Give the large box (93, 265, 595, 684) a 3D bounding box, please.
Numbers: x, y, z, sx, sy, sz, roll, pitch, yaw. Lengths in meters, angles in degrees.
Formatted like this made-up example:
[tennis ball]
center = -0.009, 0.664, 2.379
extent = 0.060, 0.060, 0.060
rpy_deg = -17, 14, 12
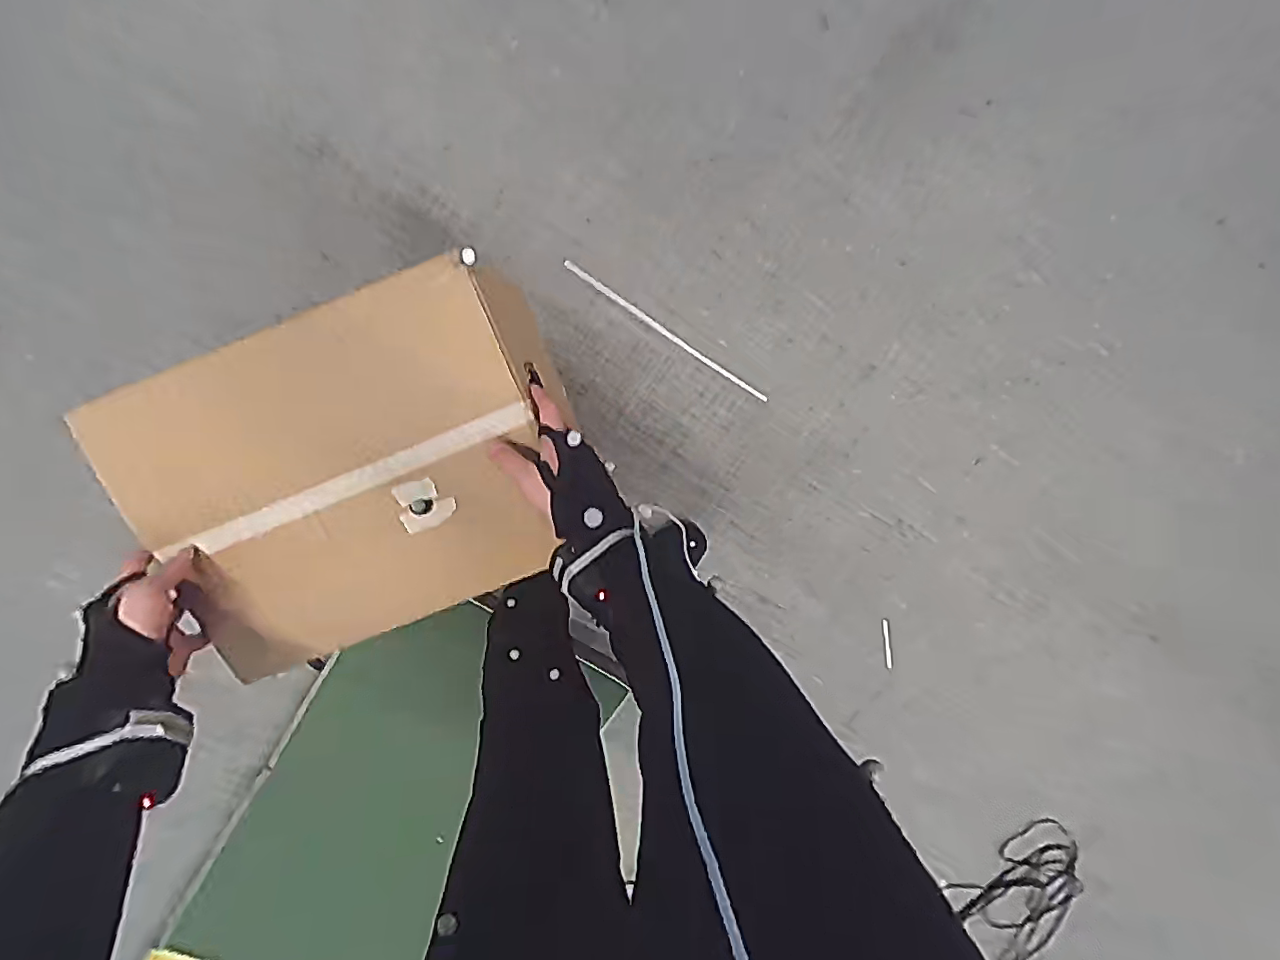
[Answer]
[large box]
center = -0.301, -0.020, 0.690
extent = 0.408, 0.320, 0.320
rpy_deg = -23, 104, 2
